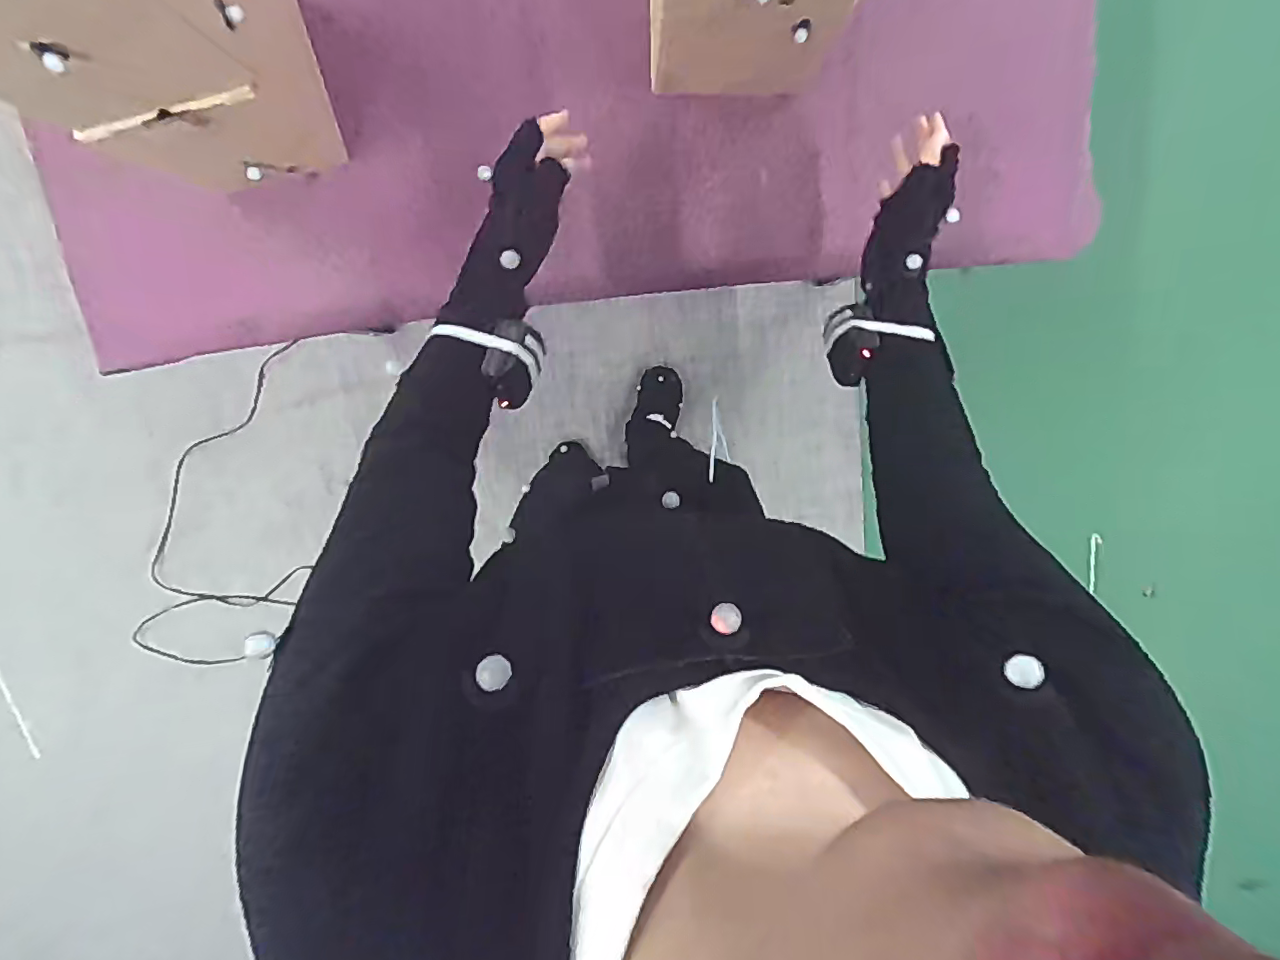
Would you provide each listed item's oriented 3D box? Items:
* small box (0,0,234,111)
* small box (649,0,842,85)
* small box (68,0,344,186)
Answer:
[{"bbox_3d":[-0.423,-0.388,0.365,0.179,0.176,0.168,-11,101,1],"label":"small box"},{"bbox_3d":[0.097,-0.510,0.520,0.179,0.176,0.168,-1,103,-1],"label":"small box"},{"bbox_3d":[-0.432,-0.421,0.529,0.168,0.176,0.179,-13,103,2],"label":"small box"}]
